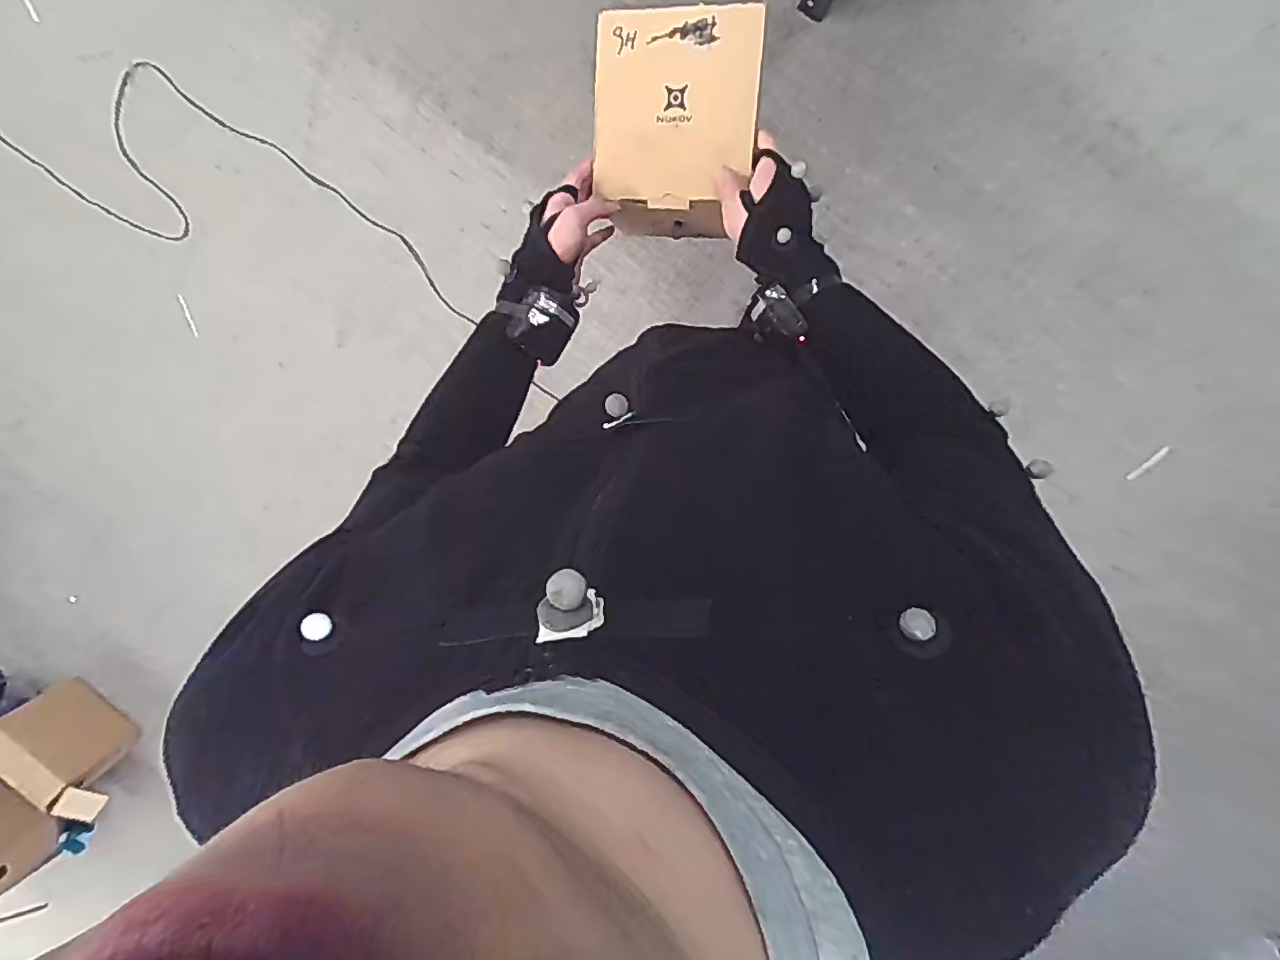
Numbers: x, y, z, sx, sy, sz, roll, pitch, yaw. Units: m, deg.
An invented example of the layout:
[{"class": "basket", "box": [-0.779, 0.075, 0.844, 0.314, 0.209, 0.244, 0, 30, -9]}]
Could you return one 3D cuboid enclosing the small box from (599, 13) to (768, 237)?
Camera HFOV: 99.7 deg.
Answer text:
[{"class": "small box", "box": [0.055, -0.388, 0.626, 0.168, 0.176, 0.179, 5, 104, 10]}]
